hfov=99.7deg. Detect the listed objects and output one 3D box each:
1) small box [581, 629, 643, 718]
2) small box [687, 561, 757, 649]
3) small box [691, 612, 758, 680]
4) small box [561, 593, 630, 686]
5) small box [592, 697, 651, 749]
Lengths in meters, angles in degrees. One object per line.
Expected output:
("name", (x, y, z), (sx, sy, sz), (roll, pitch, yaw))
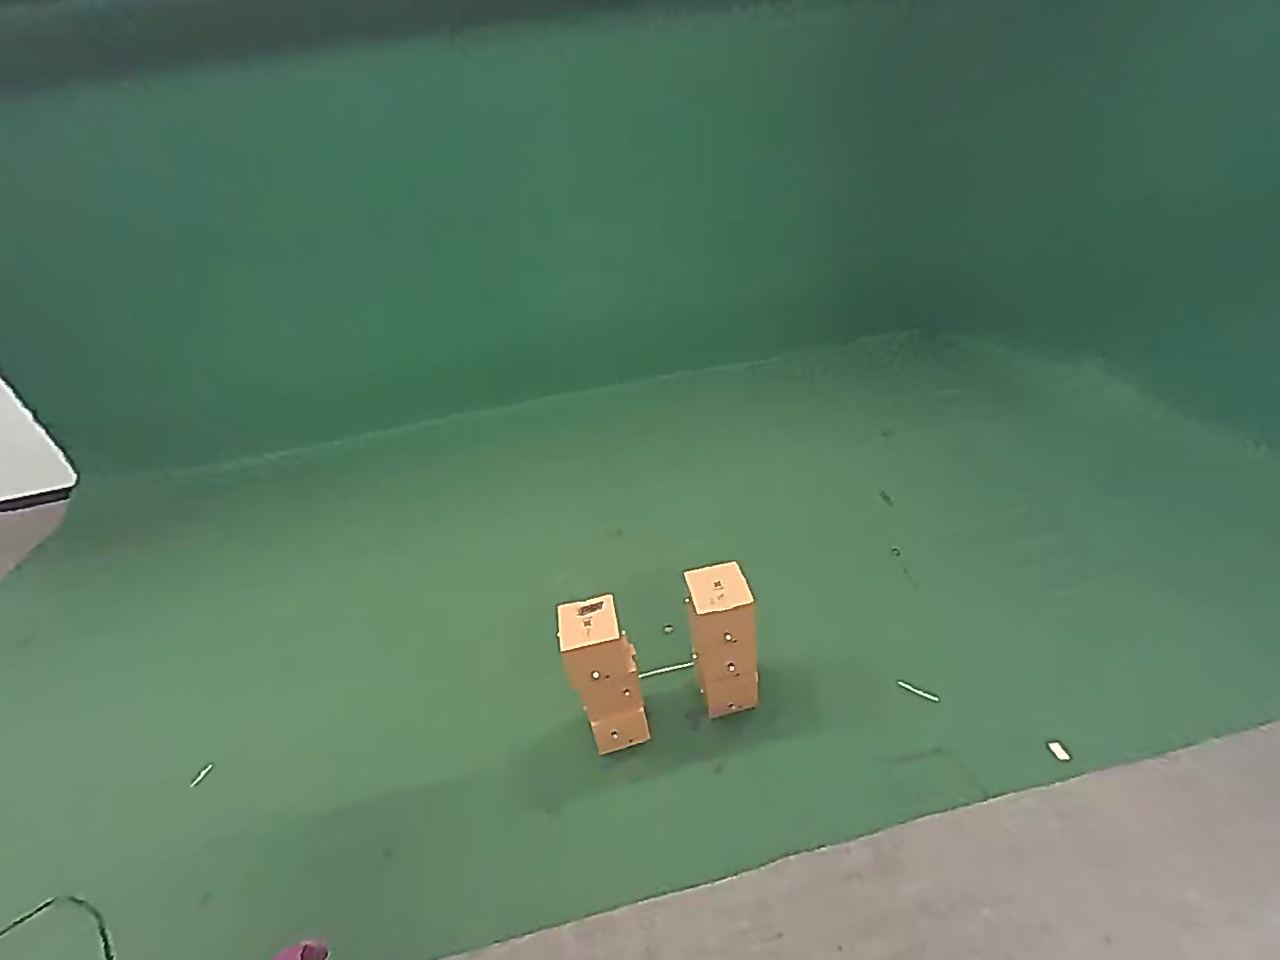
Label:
("small box", (-0.092, 0.594, 1.659), (0.179, 0.176, 0.168), (-14, 33, -7))
("small box", (0.241, 0.372, 1.607), (0.168, 0.176, 0.179), (-11, 35, -3))
("small box", (0.265, 0.506, 1.700), (0.168, 0.176, 0.179), (-11, 36, -5))
("small box", (-0.130, 0.463, 1.567), (0.168, 0.176, 0.179), (-12, 34, -4))
("small box", (-0.067, 0.735, 1.737), (0.168, 0.176, 0.179), (-14, 34, -7))
